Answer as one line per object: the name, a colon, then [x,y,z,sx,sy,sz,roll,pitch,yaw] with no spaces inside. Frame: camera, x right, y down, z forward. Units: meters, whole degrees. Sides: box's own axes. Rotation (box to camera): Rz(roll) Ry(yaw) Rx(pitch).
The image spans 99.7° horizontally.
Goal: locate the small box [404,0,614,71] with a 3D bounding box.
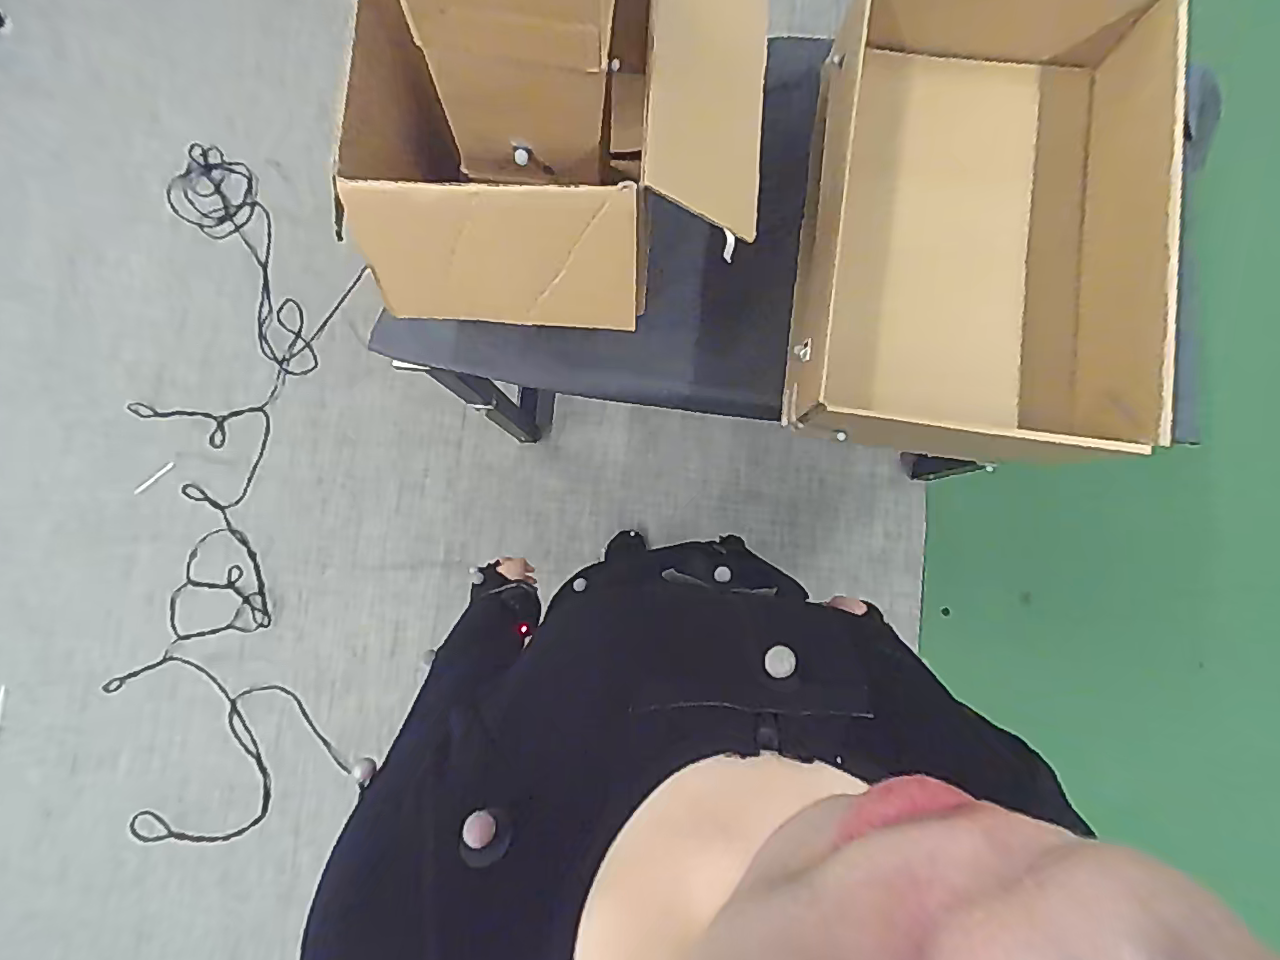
small box: [-0.107,-0.476,0.433,0.179,0.176,0.168,7,82,-3]
